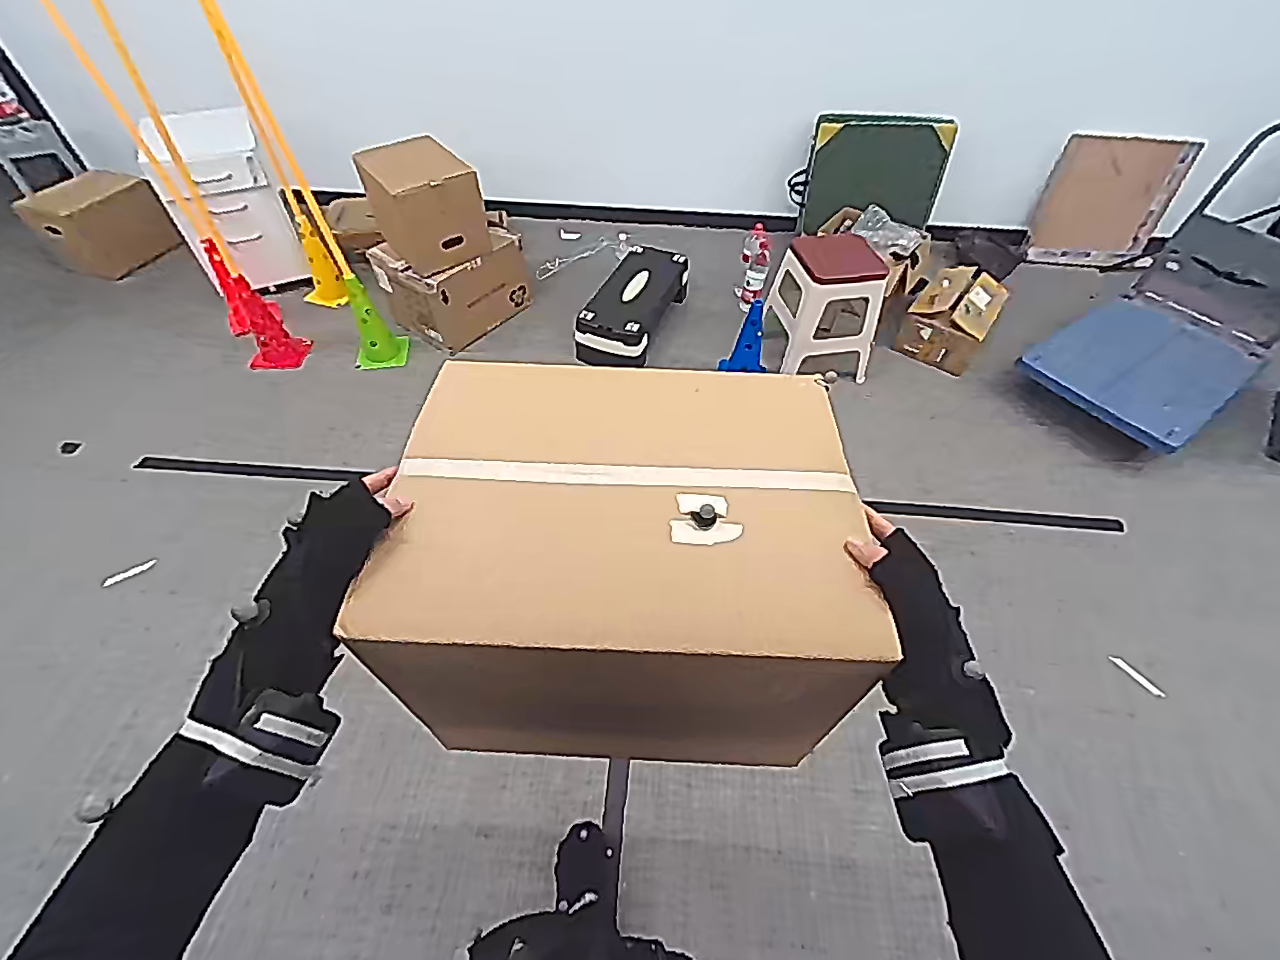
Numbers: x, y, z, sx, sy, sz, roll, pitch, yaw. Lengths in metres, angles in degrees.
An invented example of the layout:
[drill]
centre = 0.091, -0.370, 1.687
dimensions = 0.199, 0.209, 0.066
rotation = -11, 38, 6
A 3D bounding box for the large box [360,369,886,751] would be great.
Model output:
[large box]
centre = -0.015, 0.097, 0.609
dimensions = 0.408, 0.320, 0.320
rotation = 3, 51, 0
